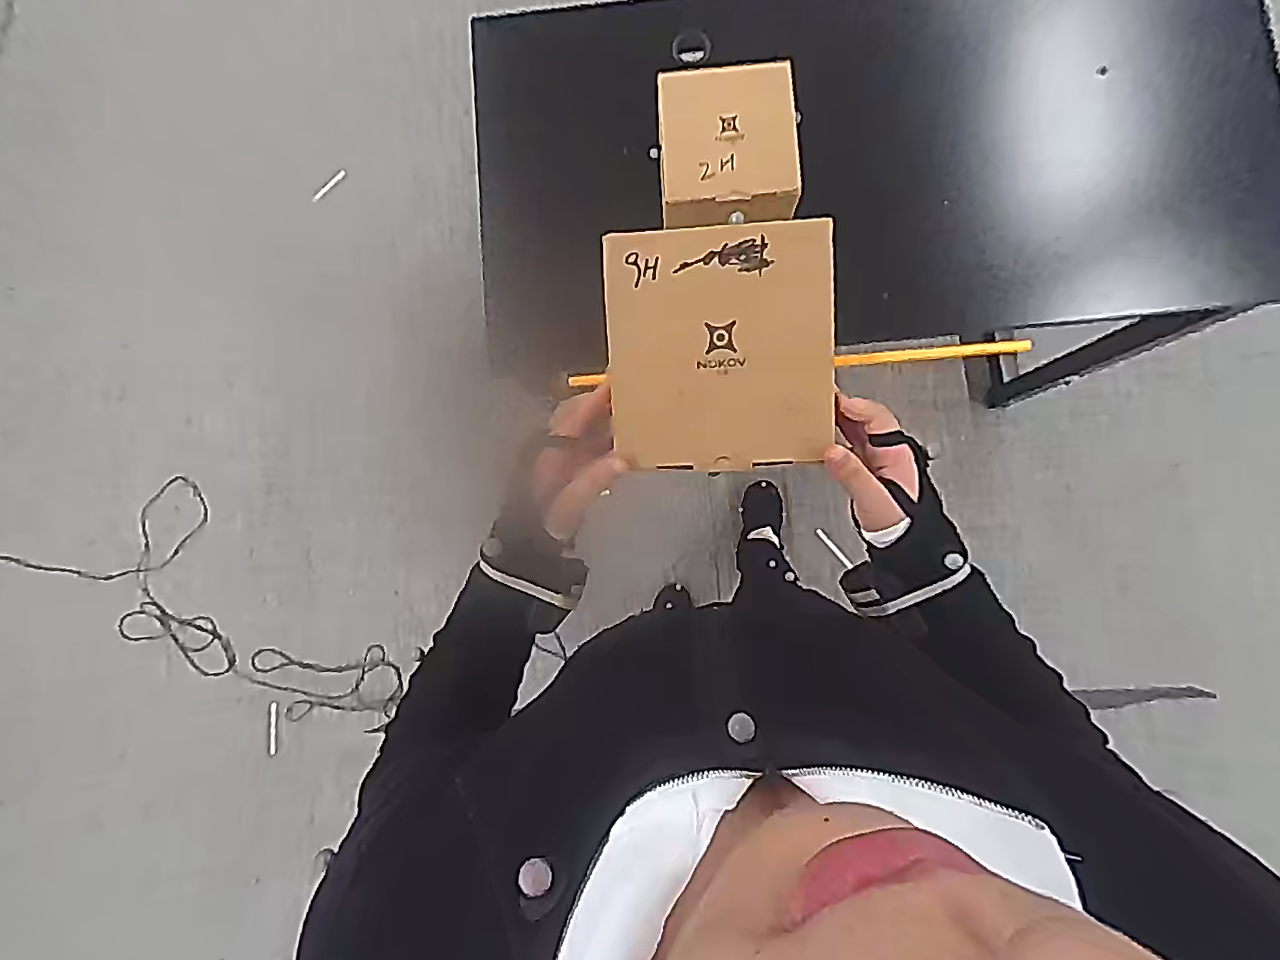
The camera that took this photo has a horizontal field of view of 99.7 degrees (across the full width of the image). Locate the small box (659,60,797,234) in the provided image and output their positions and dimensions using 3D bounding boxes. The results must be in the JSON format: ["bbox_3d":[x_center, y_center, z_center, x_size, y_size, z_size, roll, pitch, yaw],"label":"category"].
[{"bbox_3d":[0.110,-0.423,0.744,0.168,0.176,0.179,-3,84,4],"label":"small box"}]

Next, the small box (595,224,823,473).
[{"bbox_3d":[0.057,-0.105,0.479,0.168,0.176,0.179,-2,98,4],"label":"small box"}]
